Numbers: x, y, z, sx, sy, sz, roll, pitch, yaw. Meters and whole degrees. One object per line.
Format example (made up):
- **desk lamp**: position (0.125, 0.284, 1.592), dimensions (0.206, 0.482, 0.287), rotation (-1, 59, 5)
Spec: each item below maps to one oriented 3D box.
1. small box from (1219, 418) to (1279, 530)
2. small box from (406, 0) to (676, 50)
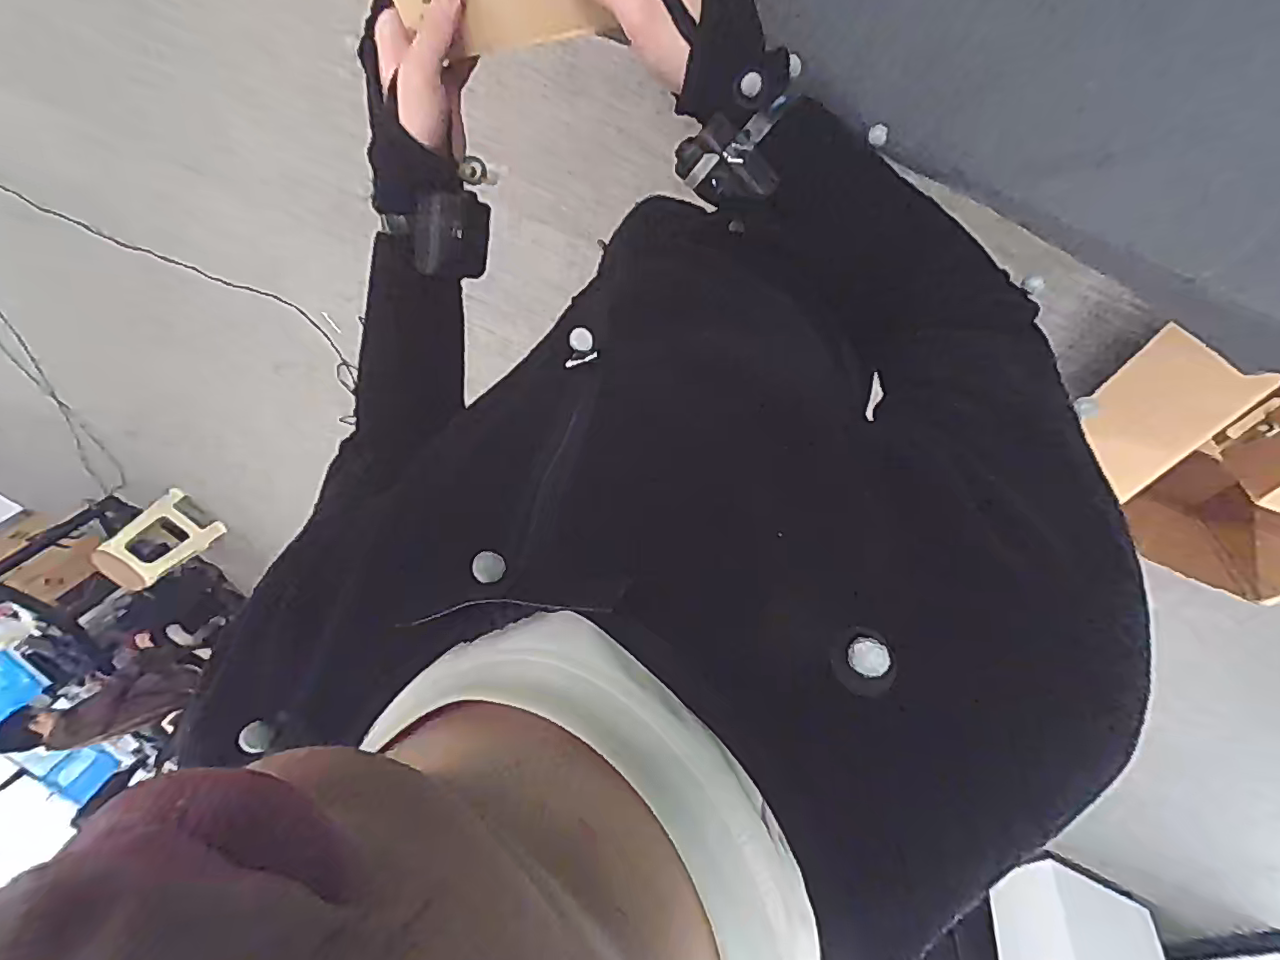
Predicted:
- **small box**: position (1.279, -0.001, 1.016), dimensions (0.179, 0.176, 0.168), rotation (22, 133, 7)
- **small box**: position (-0.066, -0.408, 0.342), dimensions (0.179, 0.176, 0.168), rotation (1, 141, 11)
